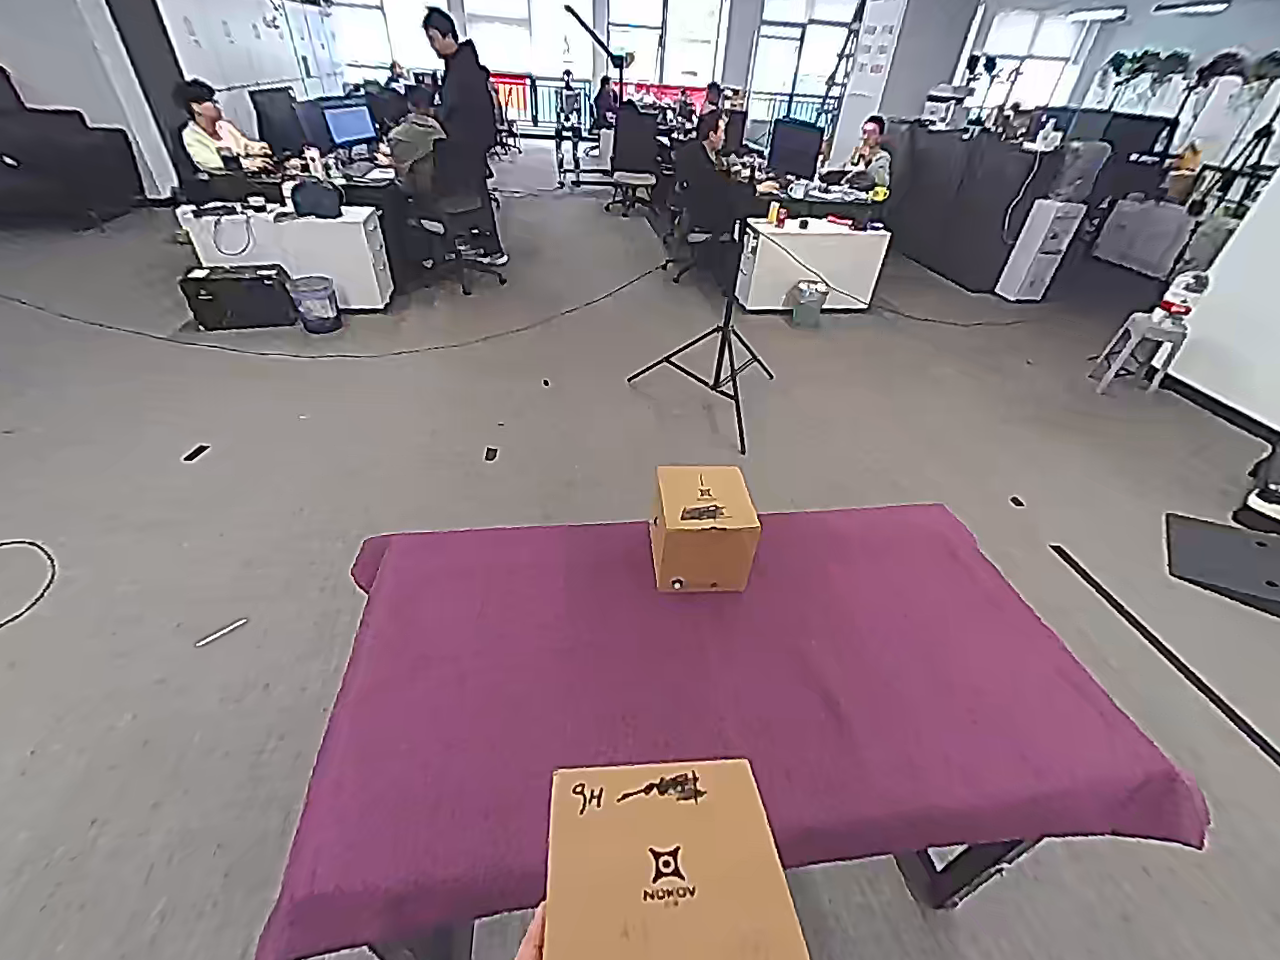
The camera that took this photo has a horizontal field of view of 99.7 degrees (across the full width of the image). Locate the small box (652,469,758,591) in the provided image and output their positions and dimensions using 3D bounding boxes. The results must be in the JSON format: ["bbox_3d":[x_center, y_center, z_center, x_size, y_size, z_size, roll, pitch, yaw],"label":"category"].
[{"bbox_3d":[0.114,0.098,1.031,0.168,0.176,0.179,0,39,-6],"label":"small box"}]

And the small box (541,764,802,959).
[{"bbox_3d":[0.016,0.352,0.409,0.168,0.176,0.179,0,26,-5],"label":"small box"}]
